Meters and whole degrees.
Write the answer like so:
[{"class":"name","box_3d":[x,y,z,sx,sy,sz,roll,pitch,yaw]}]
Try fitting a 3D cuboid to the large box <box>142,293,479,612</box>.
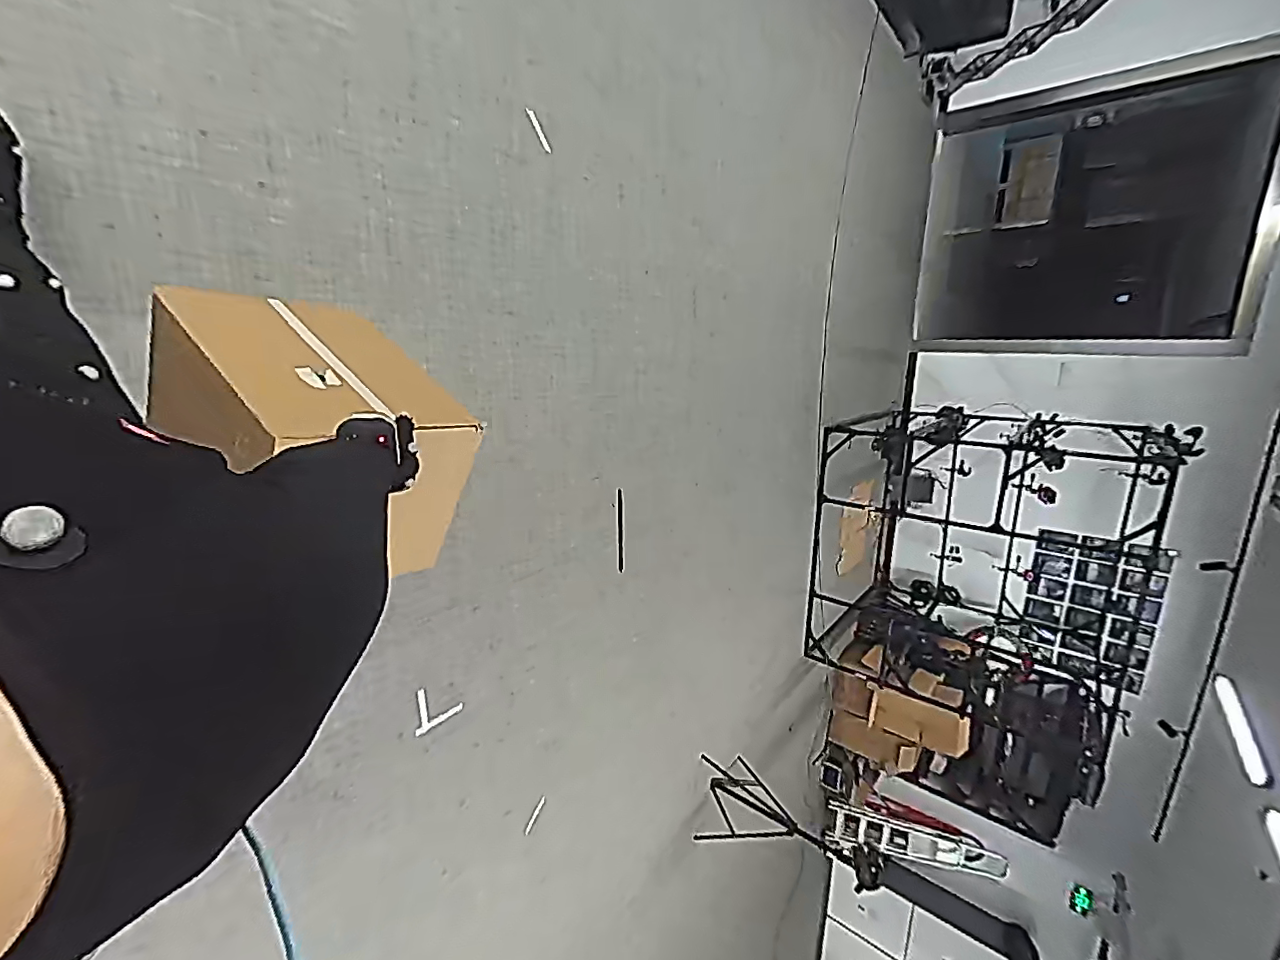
[{"class":"large box","box_3d":[-0.557,-0.059,0.909,0.320,0.408,0.320,-15,139,-56]}]
